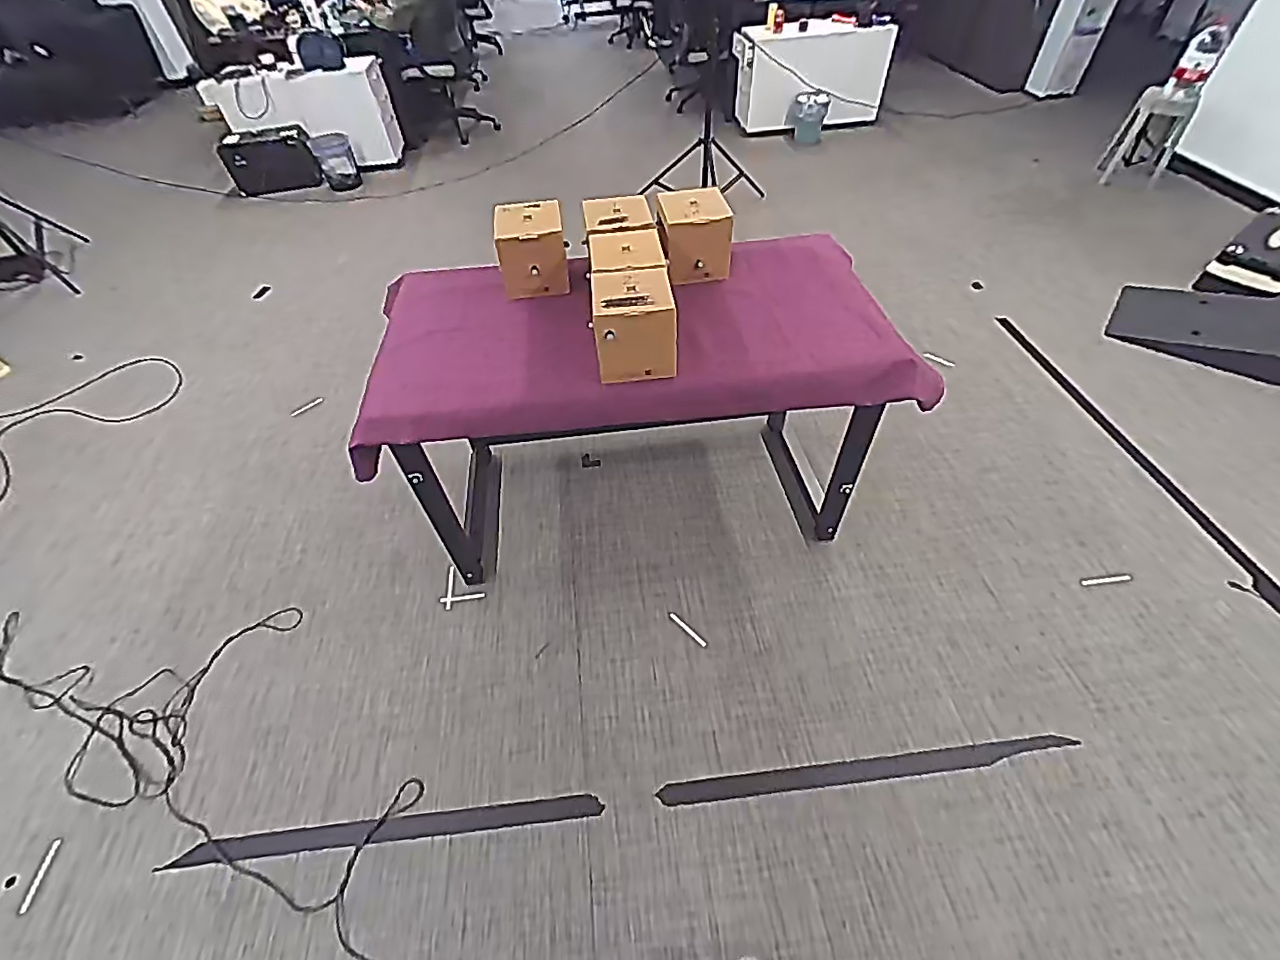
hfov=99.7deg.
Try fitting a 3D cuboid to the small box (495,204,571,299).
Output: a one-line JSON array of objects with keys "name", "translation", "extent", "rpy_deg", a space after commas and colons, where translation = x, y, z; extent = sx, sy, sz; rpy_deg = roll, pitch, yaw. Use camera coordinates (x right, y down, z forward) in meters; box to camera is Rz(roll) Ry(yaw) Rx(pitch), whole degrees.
[{"name": "small box", "translation": [-0.275, -0.590, 1.415], "extent": [0.168, 0.176, 0.179], "rpy_deg": [-8, 52, -3]}]
